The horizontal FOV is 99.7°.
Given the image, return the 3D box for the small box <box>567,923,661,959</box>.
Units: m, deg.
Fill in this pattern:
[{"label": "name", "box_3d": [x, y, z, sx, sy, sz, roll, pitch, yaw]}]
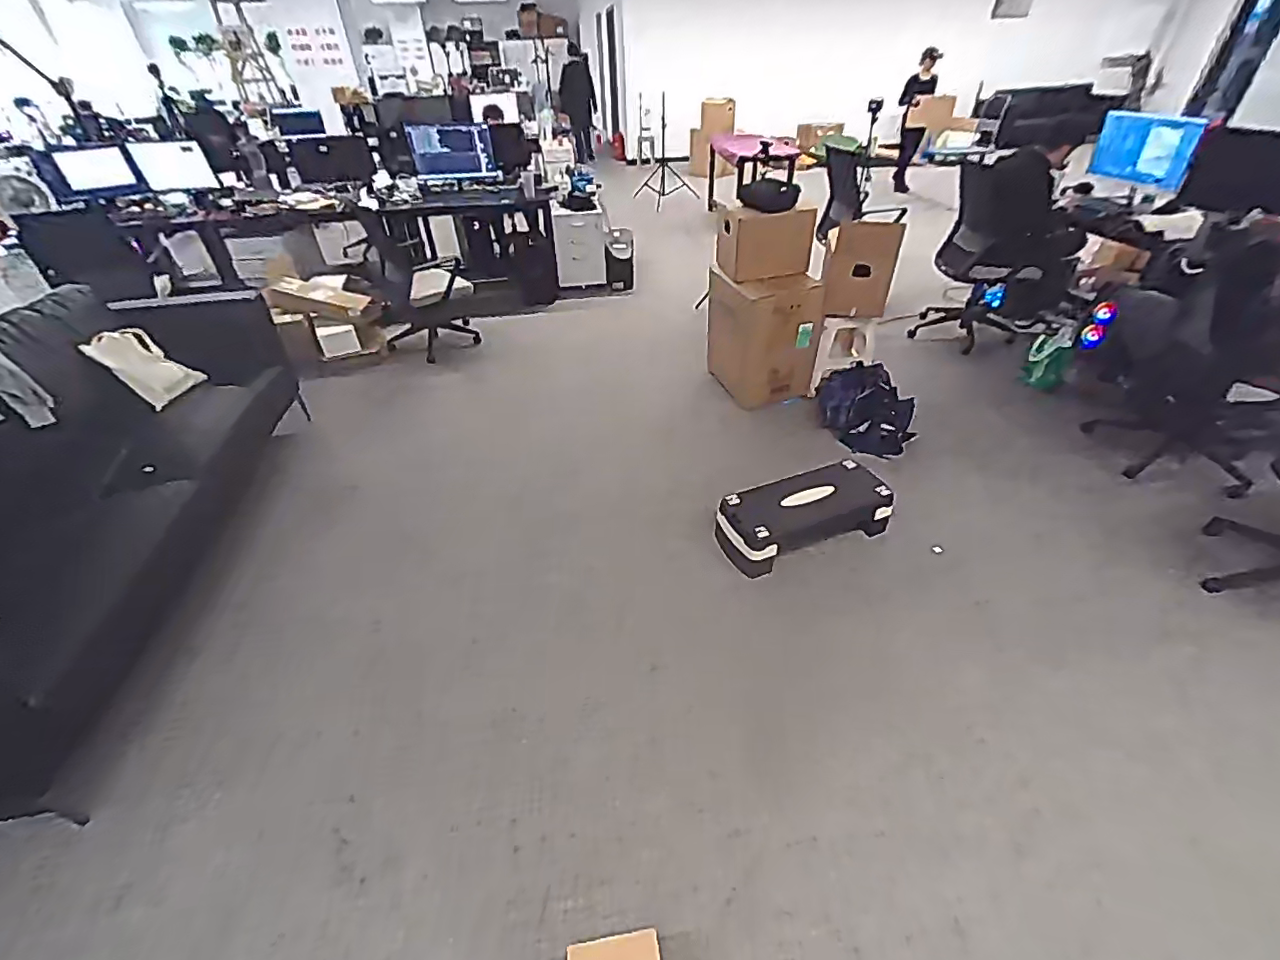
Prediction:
[{"label": "small box", "box_3d": [-0.034, 0.935, 0.962, 0.168, 0.176, 0.179, -7, 38, -8]}]
